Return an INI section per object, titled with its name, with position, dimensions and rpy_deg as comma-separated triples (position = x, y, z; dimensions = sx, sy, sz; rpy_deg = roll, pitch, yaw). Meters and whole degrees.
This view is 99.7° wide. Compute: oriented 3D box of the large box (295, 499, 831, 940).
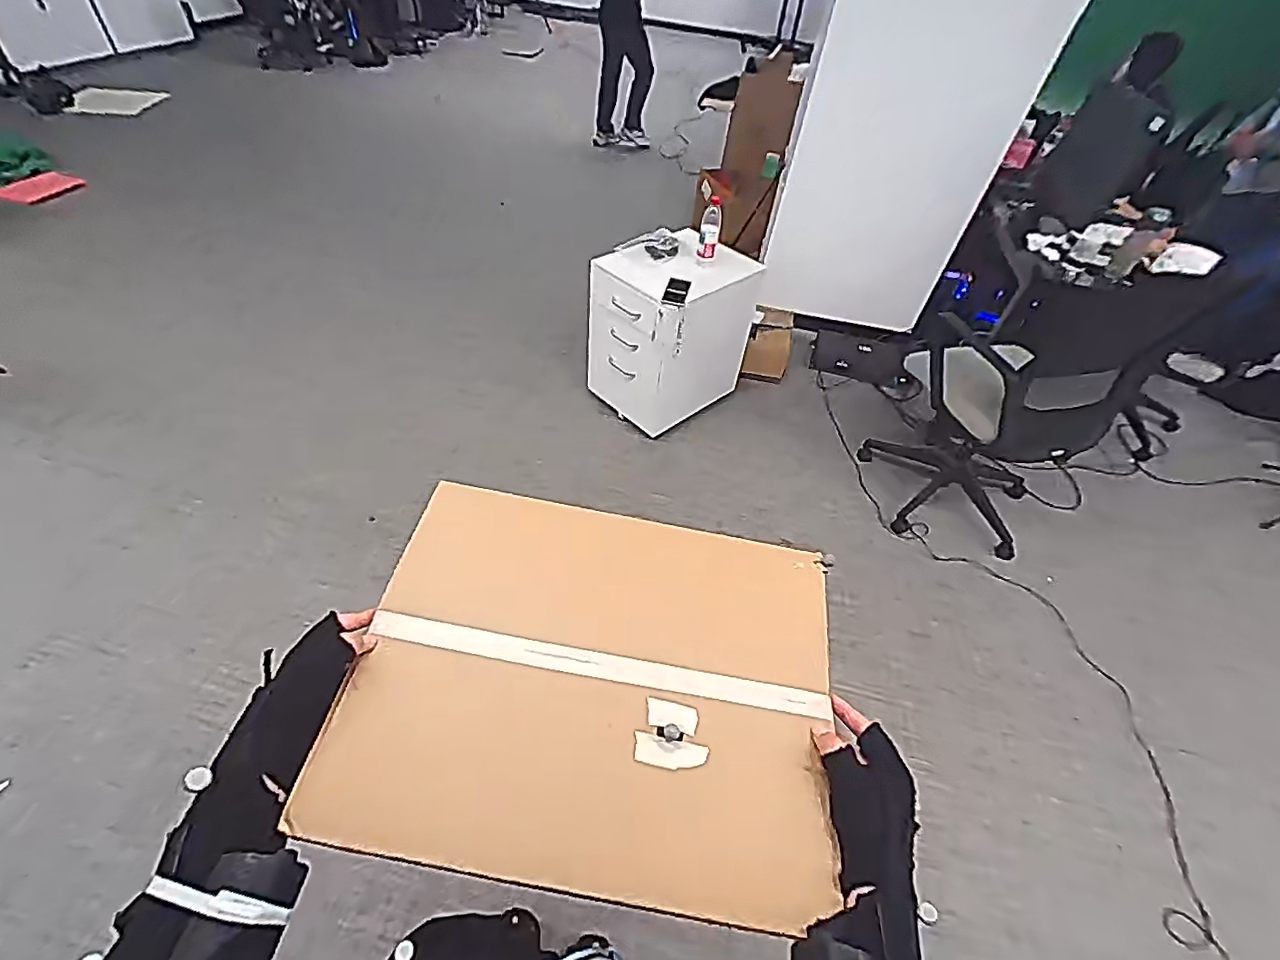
[large box]
position = -0.053, 0.262, 0.595
dimensions = 0.408, 0.320, 0.320
rpy_deg = 12, 54, 0
